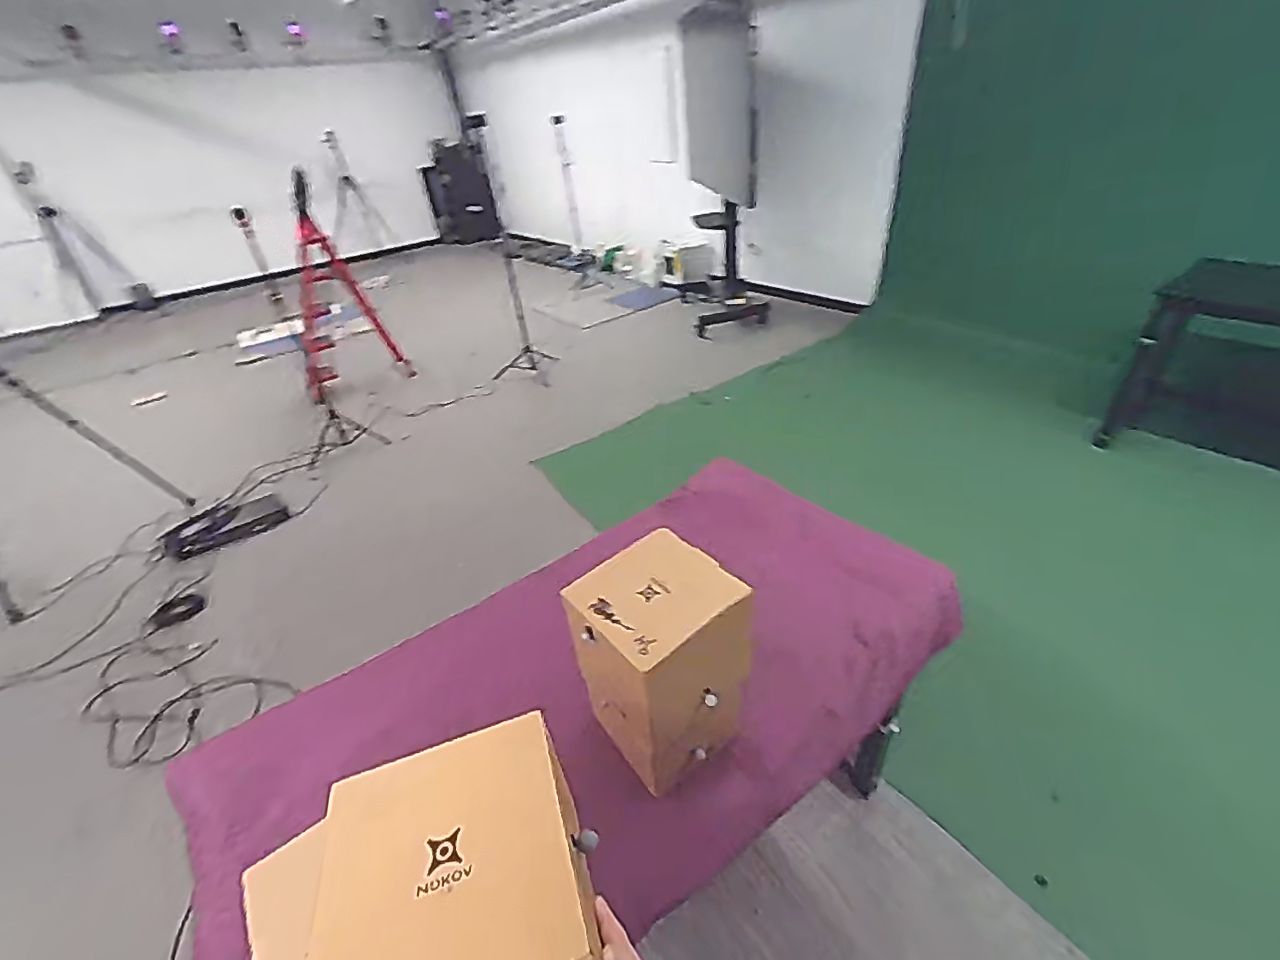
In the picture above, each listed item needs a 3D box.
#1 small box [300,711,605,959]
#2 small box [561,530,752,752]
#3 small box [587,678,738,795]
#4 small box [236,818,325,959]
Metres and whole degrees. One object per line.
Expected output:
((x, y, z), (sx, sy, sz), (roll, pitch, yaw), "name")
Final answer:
((-0.123, 0.317, 0.399), (0.168, 0.176, 0.179), (-15, 34, -13), "small box")
((0.023, 0.200, 0.697), (0.179, 0.176, 0.168), (-28, 39, -29), "small box")
((0.027, 0.321, 0.811), (0.168, 0.176, 0.179), (-26, 39, -26), "small box")
((-0.314, 0.495, 0.605), (0.168, 0.176, 0.179), (-28, 38, -28), "small box")
